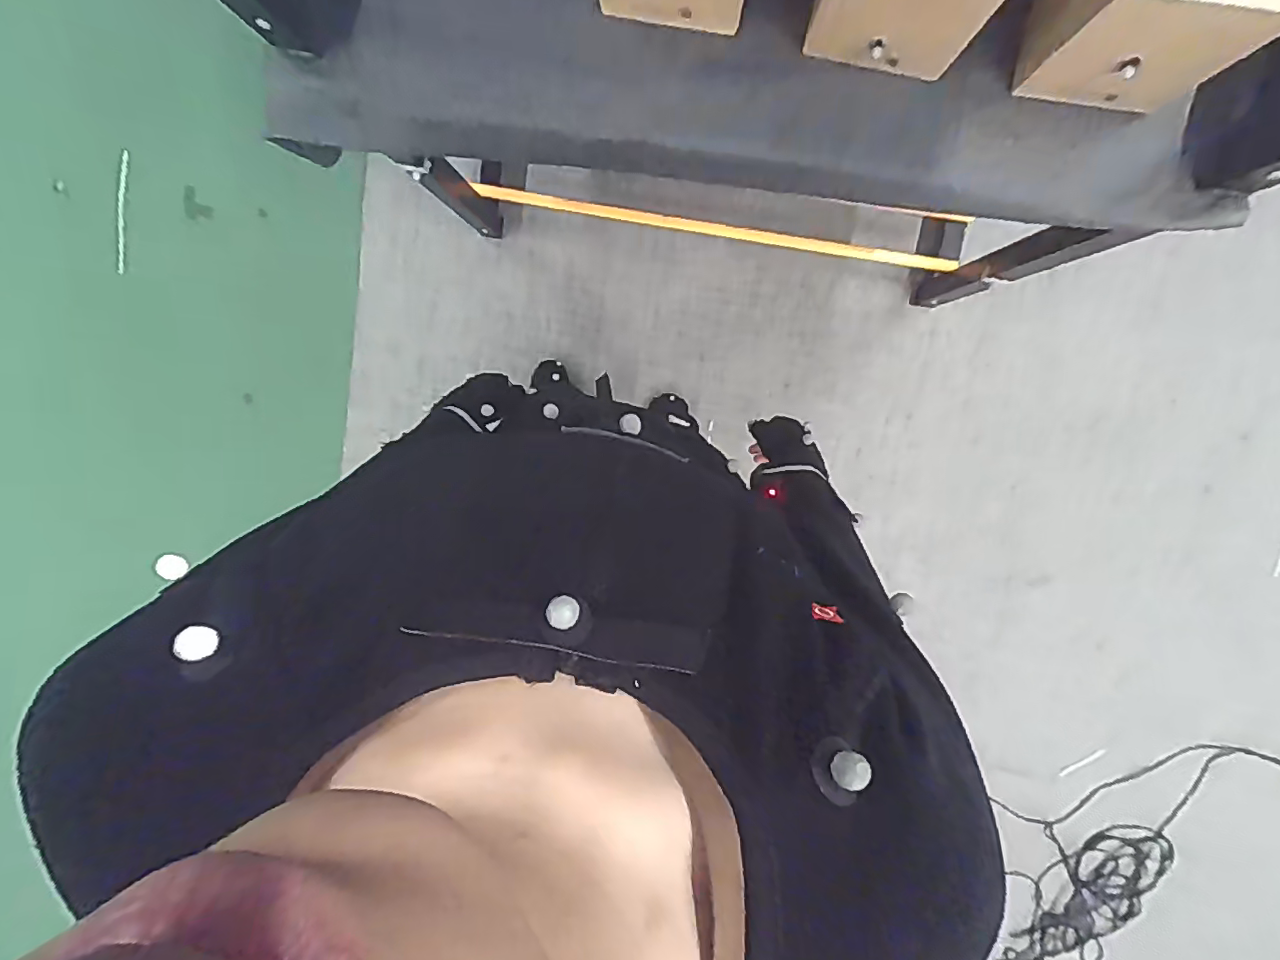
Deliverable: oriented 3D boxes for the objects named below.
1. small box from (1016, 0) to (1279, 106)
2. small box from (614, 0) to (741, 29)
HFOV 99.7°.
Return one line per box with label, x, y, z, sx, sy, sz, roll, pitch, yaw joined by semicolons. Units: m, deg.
small box;0.527;-0.521;0.549;0.168;0.176;0.179;9;98;1
small box;0.045;-0.623;0.562;0.168;0.176;0.179;10;99;1
